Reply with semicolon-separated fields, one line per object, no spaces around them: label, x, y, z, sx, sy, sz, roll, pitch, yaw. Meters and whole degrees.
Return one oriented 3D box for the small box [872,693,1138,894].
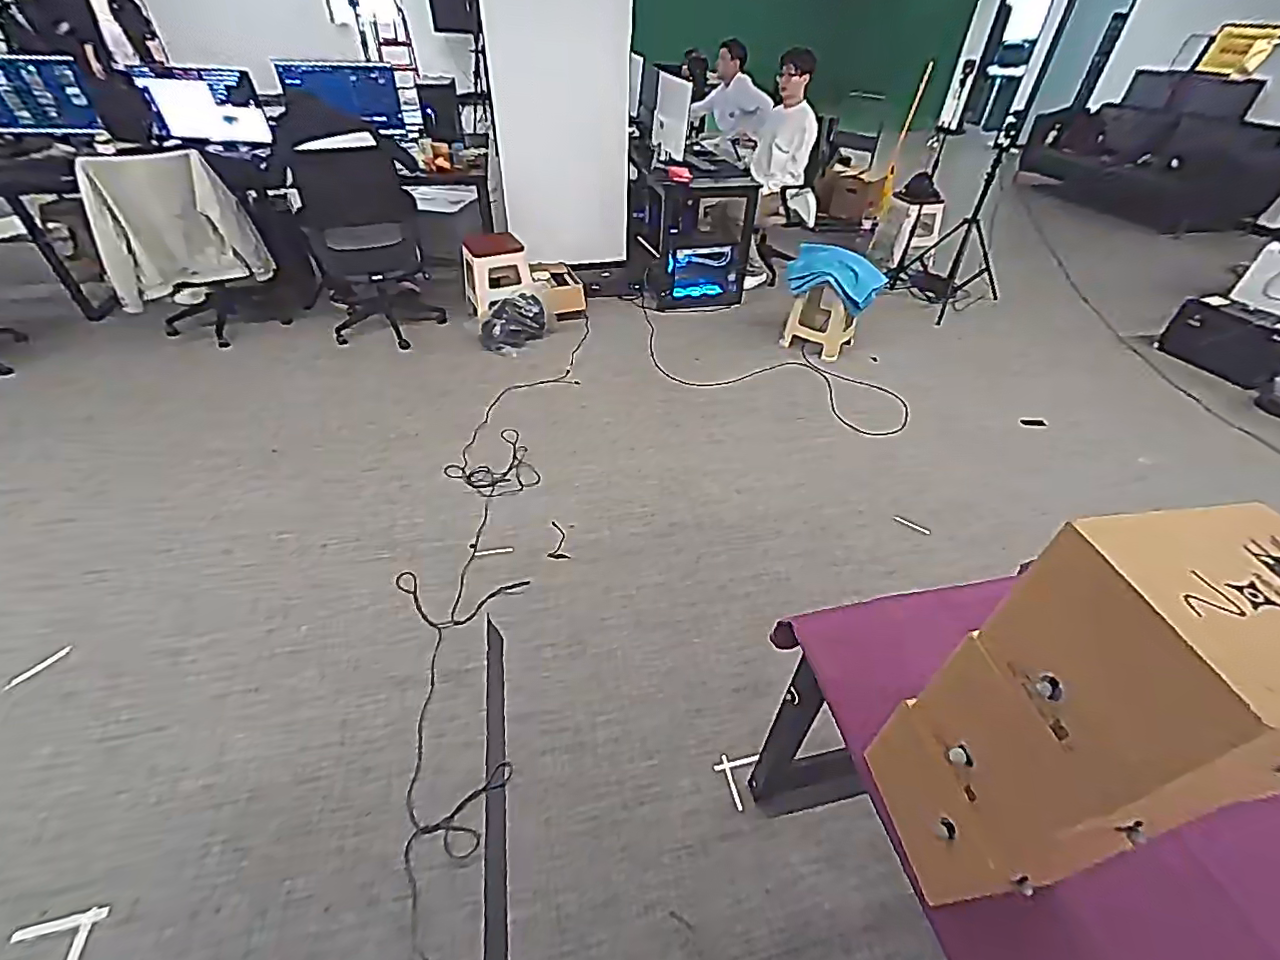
small box;0.412;0.372;0.651;0.168;0.176;0.179;-4;42;-7

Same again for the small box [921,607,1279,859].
small box;0.425;0.251;0.540;0.179;0.176;0.168;-6;43;-7
